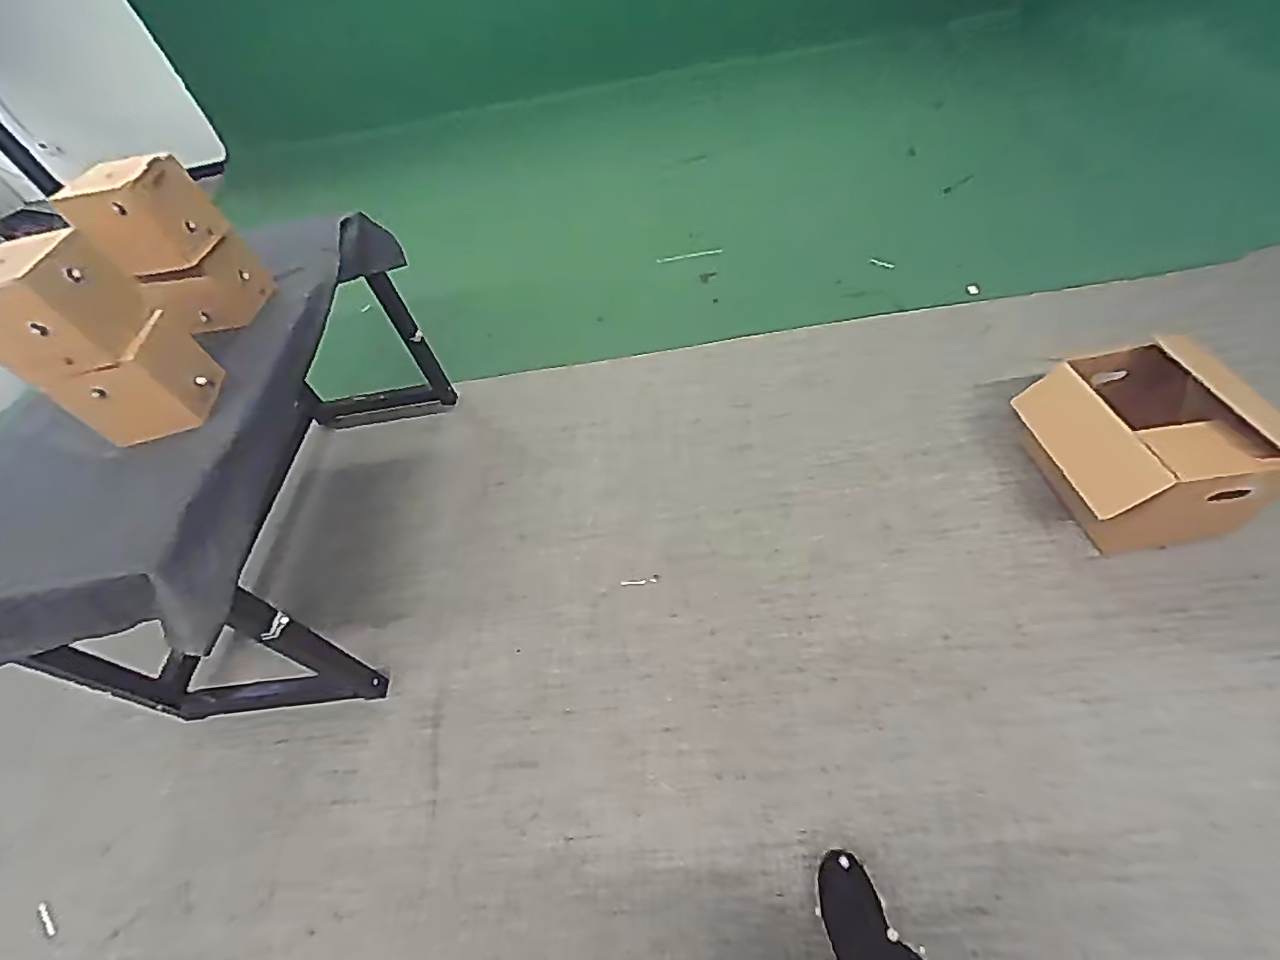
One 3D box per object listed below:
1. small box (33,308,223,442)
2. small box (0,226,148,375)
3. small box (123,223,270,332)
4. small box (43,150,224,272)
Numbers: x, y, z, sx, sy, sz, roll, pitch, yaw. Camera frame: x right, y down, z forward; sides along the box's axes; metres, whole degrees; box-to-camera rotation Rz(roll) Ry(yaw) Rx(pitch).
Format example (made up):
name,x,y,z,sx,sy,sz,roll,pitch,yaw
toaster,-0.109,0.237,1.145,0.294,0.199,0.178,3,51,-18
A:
name,x,y,z,sx,sy,sz,roll,pitch,yaw
small box,-0.967,-0.197,1.043,0.179,0.176,0.168,-15,51,-2
small box,-1.007,-0.296,0.920,0.168,0.176,0.179,-12,50,0
small box,-1.023,-0.471,1.269,0.179,0.176,0.168,-7,52,5
small box,-1.036,-0.552,1.125,0.179,0.176,0.168,-5,52,7
